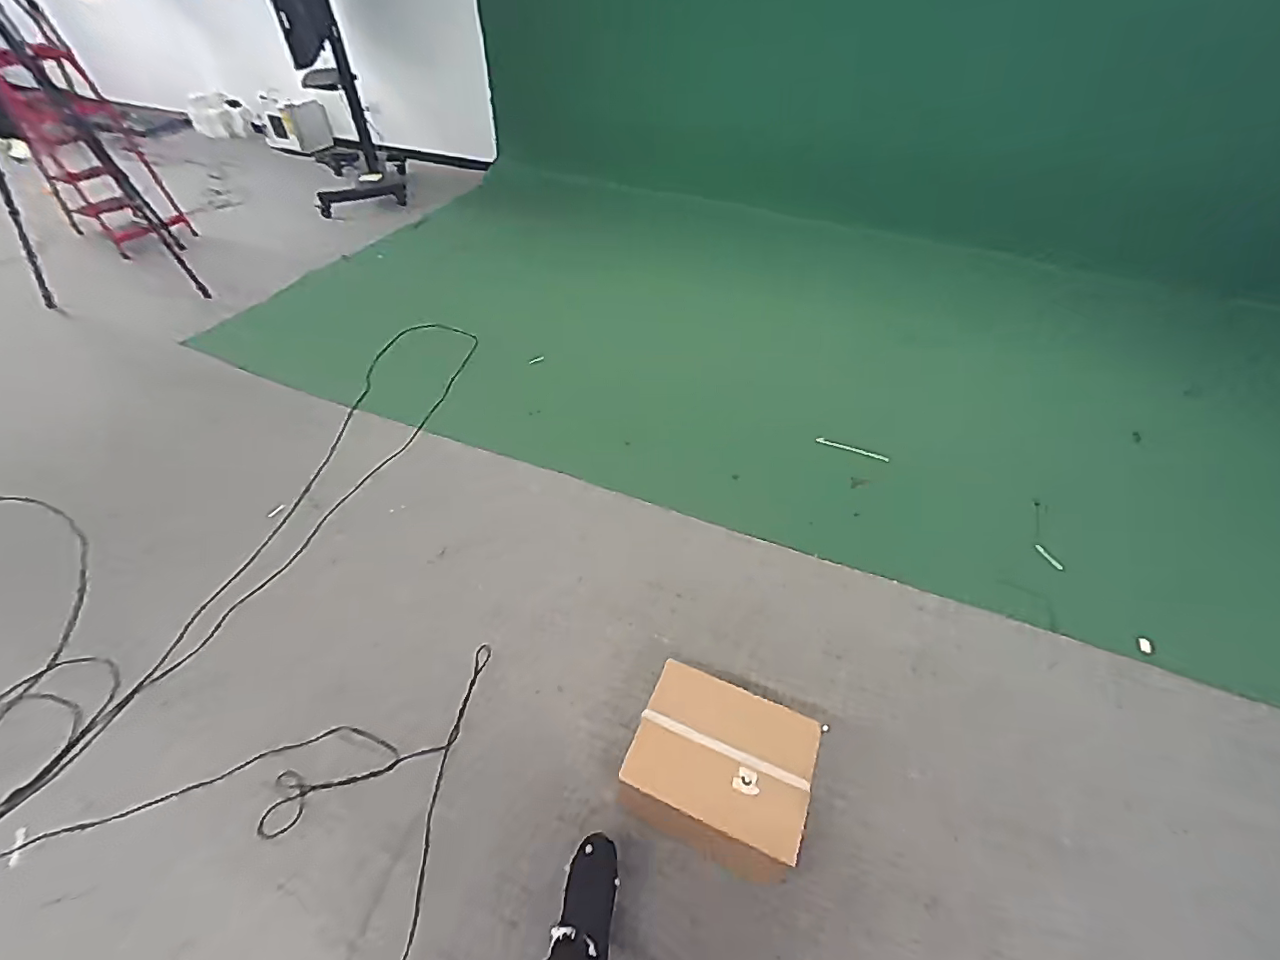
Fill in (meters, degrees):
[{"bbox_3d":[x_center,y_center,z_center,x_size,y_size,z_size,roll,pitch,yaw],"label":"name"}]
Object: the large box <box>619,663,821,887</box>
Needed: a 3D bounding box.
[{"bbox_3d":[0.188,0.729,1.353,0.408,0.320,0.320,19,48,15],"label":"large box"}]
